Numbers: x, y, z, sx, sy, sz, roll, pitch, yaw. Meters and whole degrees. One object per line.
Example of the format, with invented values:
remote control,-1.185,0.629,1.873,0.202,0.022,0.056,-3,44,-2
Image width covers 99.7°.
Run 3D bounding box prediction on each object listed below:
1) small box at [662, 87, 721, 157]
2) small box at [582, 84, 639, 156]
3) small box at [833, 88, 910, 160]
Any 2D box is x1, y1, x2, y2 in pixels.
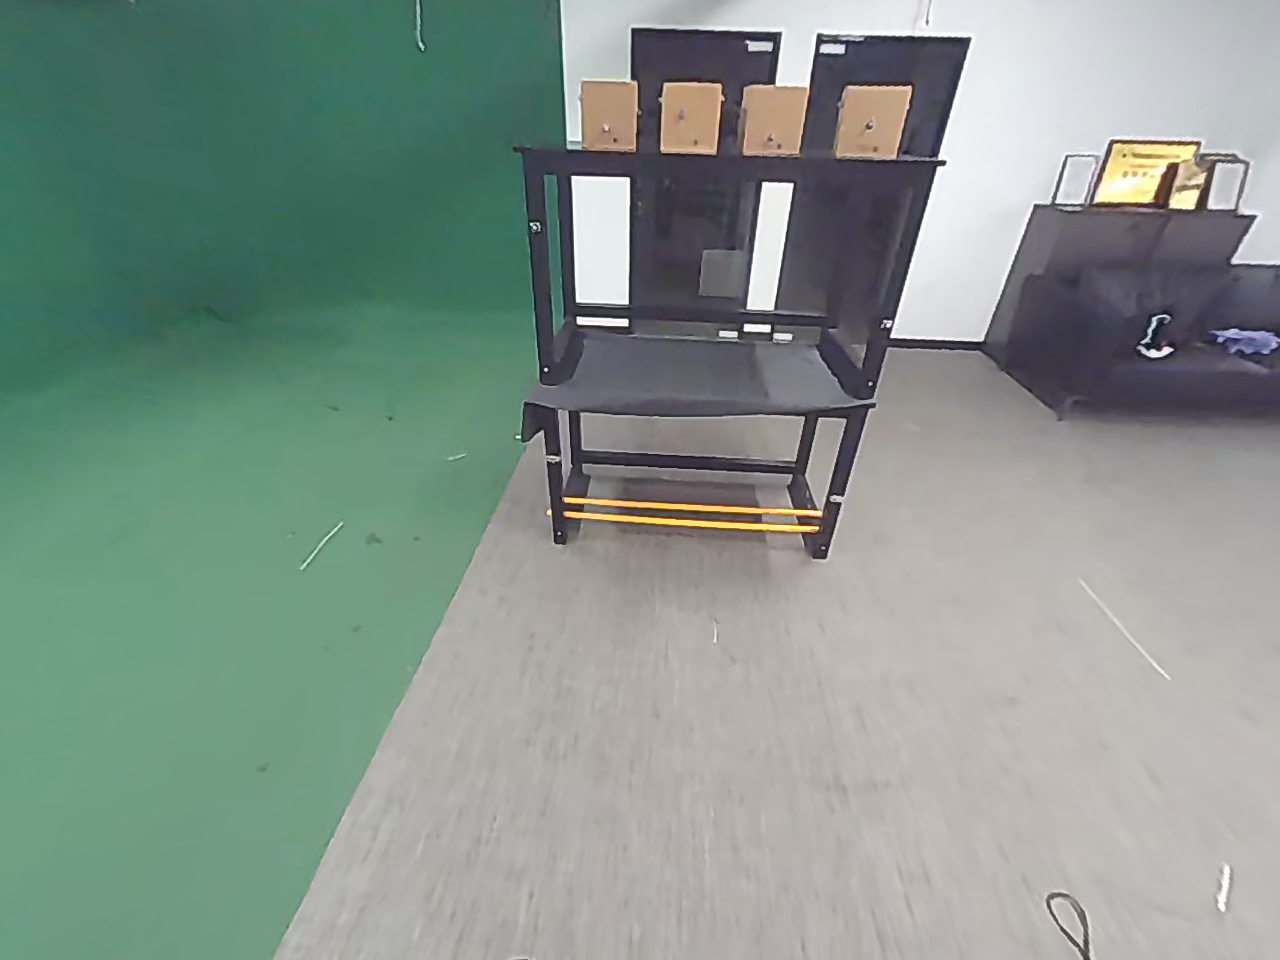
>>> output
small box,0.155,-1.075,1.628,0.168,0.176,0.179,4,33,4
small box,-0.088,-1.101,1.656,0.168,0.176,0.179,1,34,0
small box,0.667,-1.033,1.574,0.168,0.176,0.179,8,34,11
